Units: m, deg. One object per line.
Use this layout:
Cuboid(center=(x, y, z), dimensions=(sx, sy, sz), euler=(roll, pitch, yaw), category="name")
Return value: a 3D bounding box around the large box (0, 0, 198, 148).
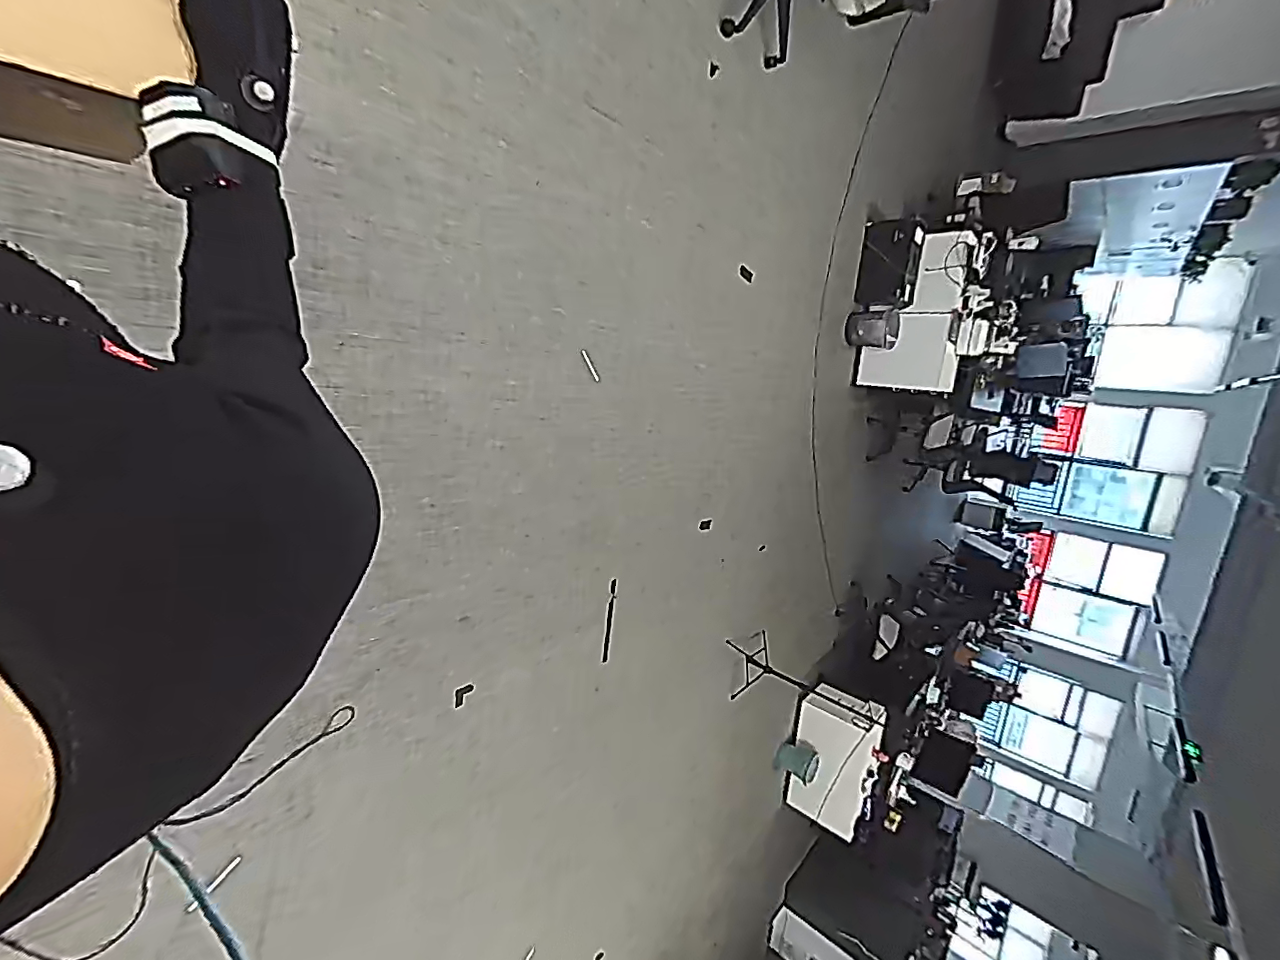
Cuboid(center=(-0.576, -0.443, 0.322), dimensions=(0.408, 0.320, 0.320), euler=(-14, 116, -50), category="large box")
